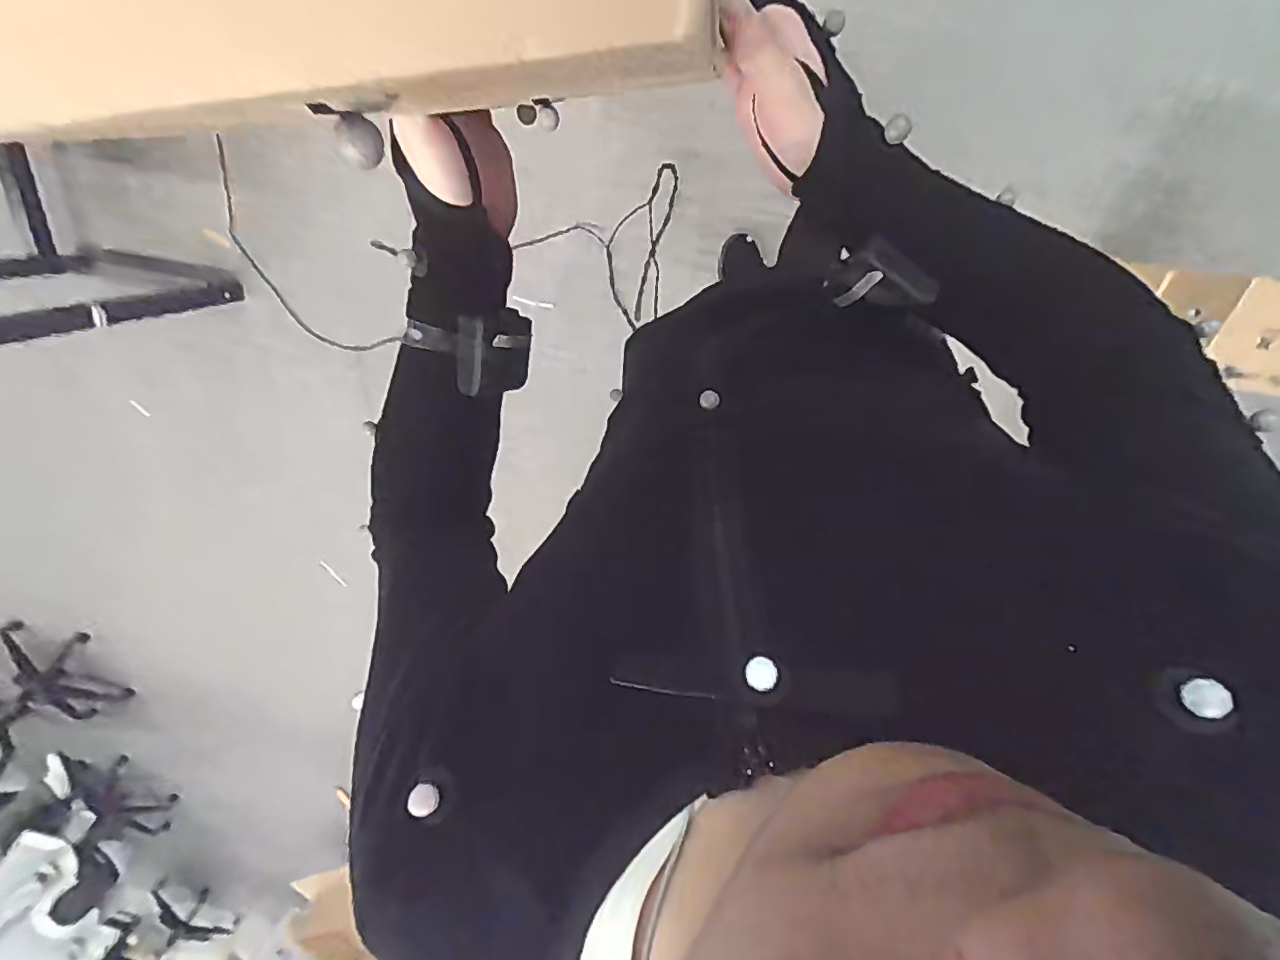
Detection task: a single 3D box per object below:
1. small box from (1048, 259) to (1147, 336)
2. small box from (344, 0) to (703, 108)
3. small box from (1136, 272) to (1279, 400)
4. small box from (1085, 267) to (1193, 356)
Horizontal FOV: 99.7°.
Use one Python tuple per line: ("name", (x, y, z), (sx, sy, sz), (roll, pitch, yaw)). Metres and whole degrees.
("small box", (1.112, -0.410, 1.260), (0.179, 0.176, 0.168), (15, 118, 2))
("small box", (-0.060, -0.291, 0.262), (0.179, 0.176, 0.168), (-1, 124, 11))
("small box", (1.064, -0.266, 0.971), (0.168, 0.176, 0.179), (14, 116, 3))
("small box", (1.085, -0.338, 1.117), (0.179, 0.176, 0.168), (13, 117, 3))
